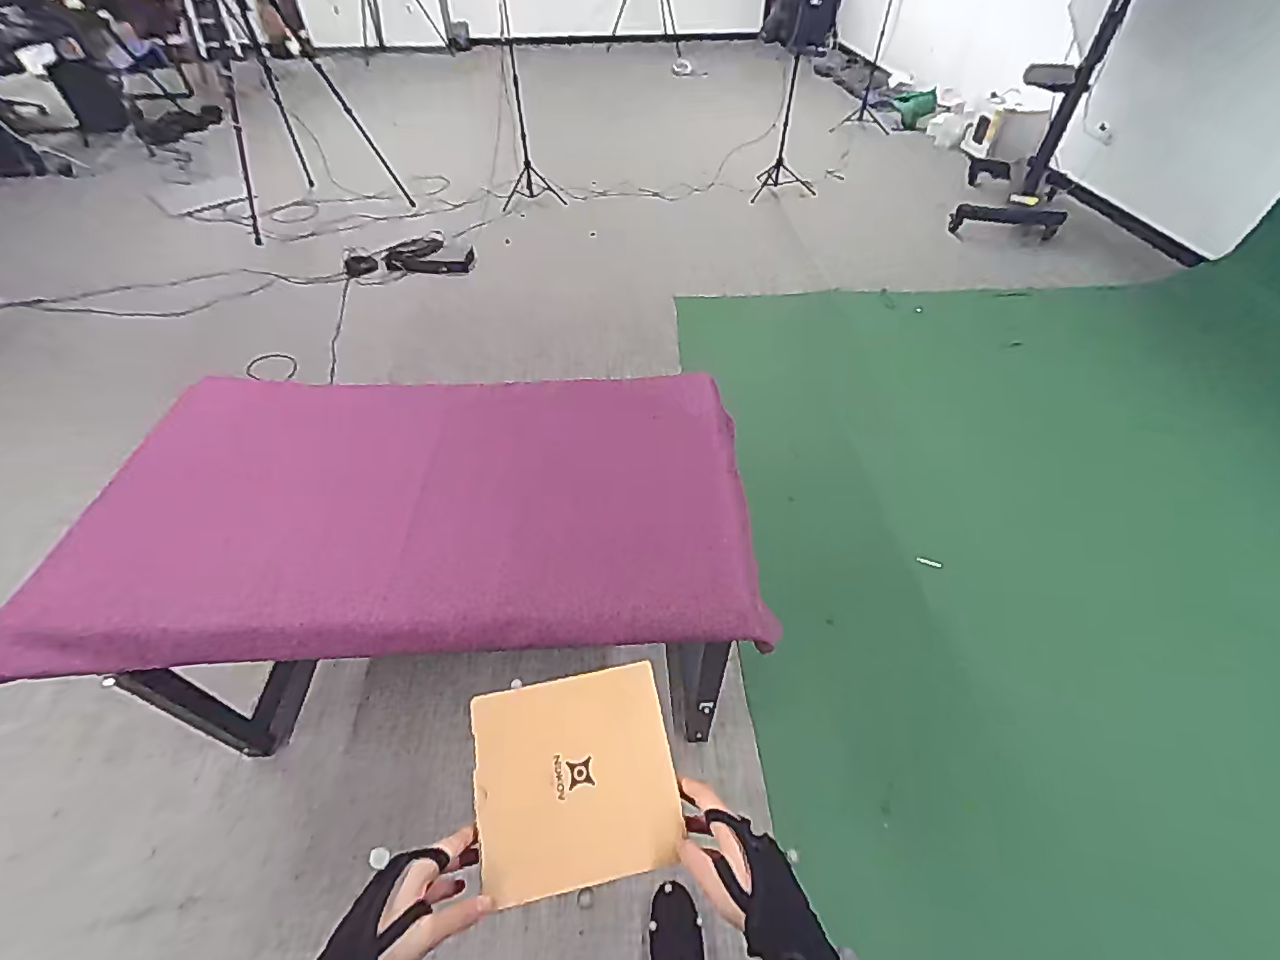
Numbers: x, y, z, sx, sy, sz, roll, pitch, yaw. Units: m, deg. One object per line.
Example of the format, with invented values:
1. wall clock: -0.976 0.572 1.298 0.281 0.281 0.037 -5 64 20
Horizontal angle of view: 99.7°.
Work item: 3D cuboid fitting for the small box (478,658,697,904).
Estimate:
1. small box: -0.052 0.297 0.551 0.179 0.176 0.168 -12 60 -6
